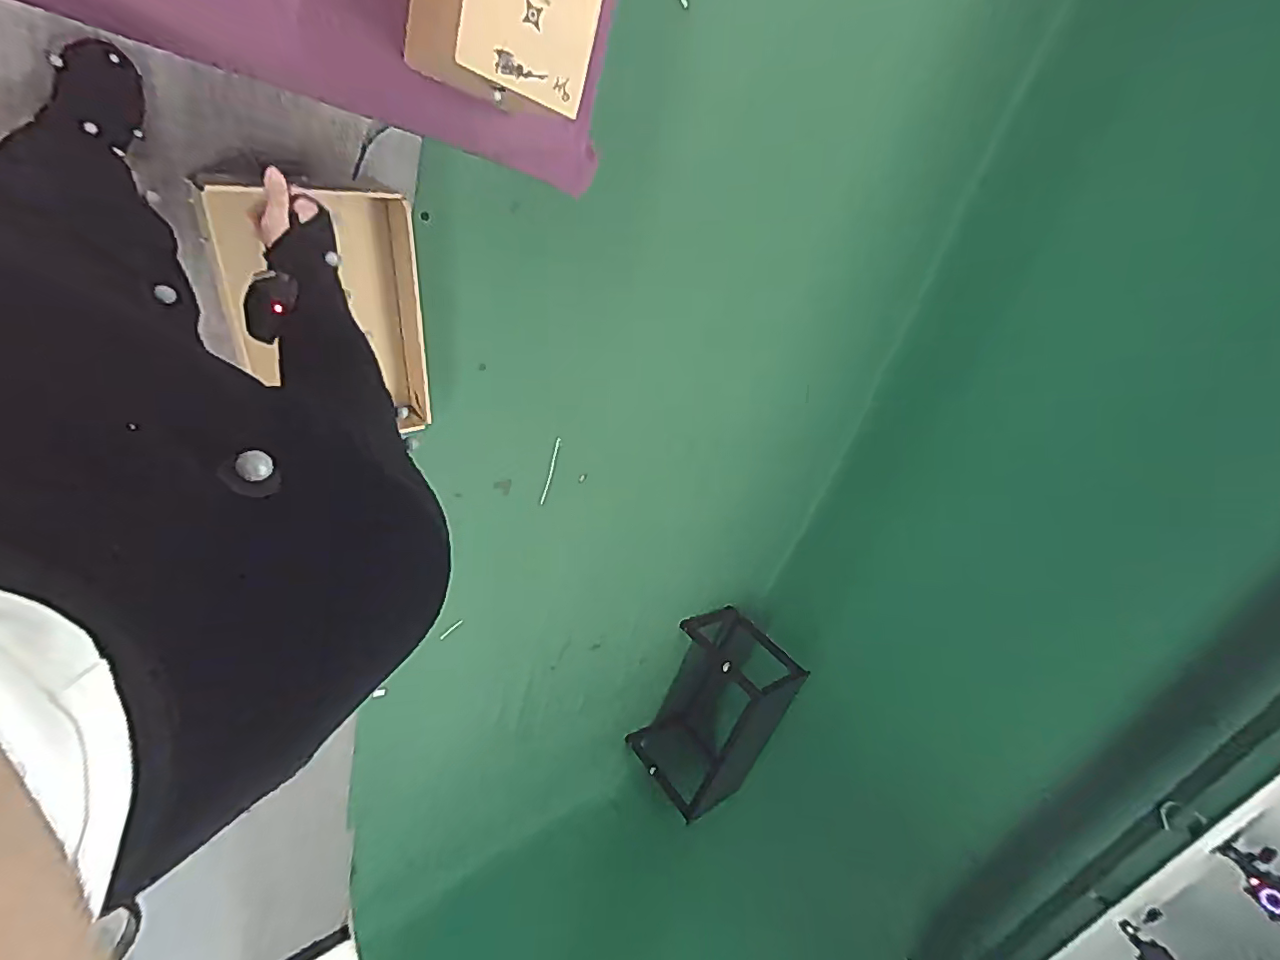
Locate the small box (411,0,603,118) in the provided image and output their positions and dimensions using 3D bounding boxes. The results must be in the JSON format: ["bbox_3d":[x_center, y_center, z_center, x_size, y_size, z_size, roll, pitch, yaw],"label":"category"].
[{"bbox_3d":[-0.166,-0.576,0.664,0.168,0.176,0.179,-3,120,-42],"label":"small box"}]
